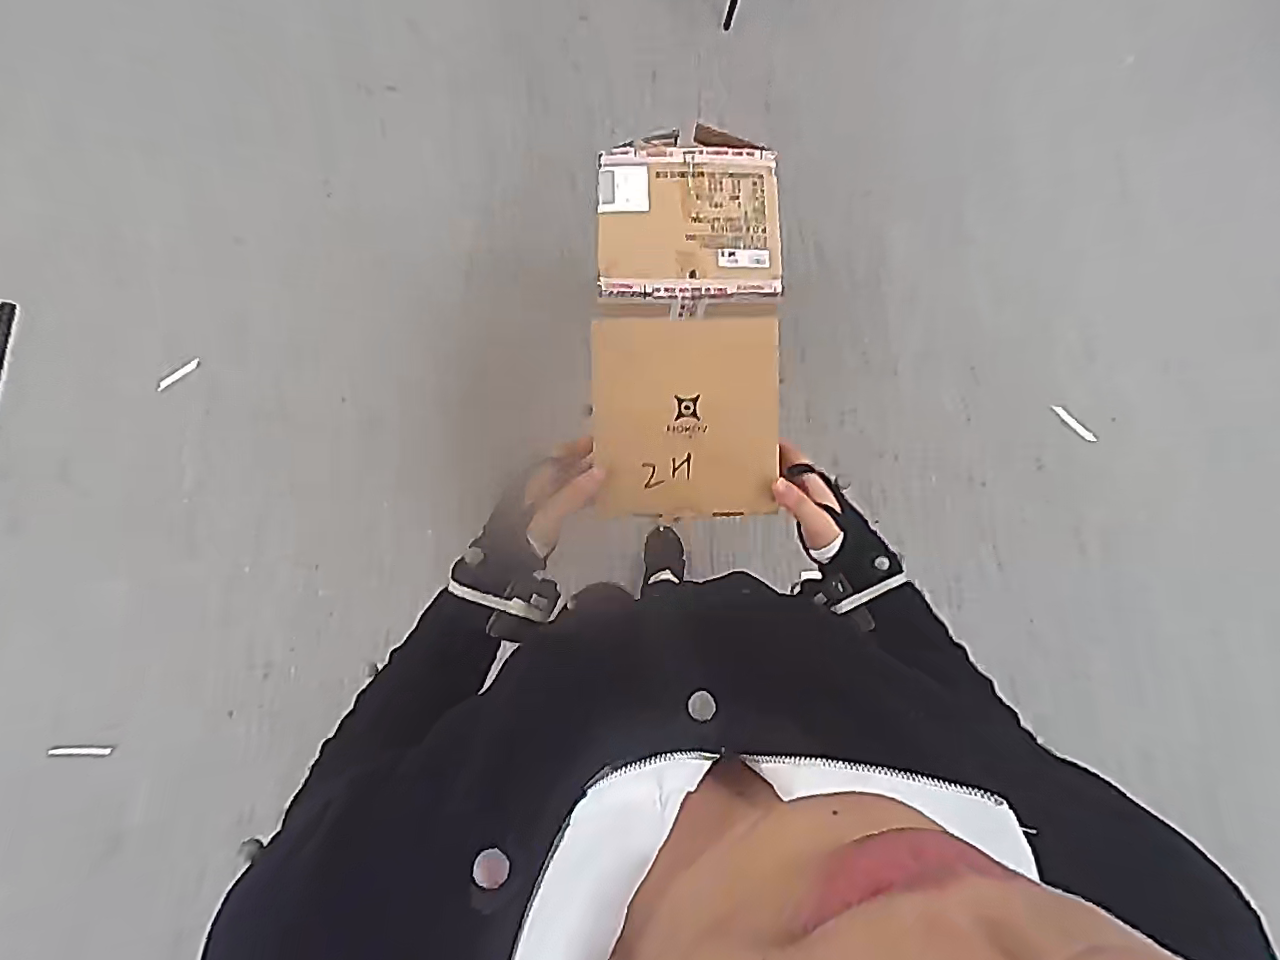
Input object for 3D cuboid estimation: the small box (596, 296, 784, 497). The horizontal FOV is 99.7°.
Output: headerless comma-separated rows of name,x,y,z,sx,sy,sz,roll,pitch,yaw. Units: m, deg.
small box,0.041,-0.075,0.549,0.168,0.176,0.179,-1,93,-1
